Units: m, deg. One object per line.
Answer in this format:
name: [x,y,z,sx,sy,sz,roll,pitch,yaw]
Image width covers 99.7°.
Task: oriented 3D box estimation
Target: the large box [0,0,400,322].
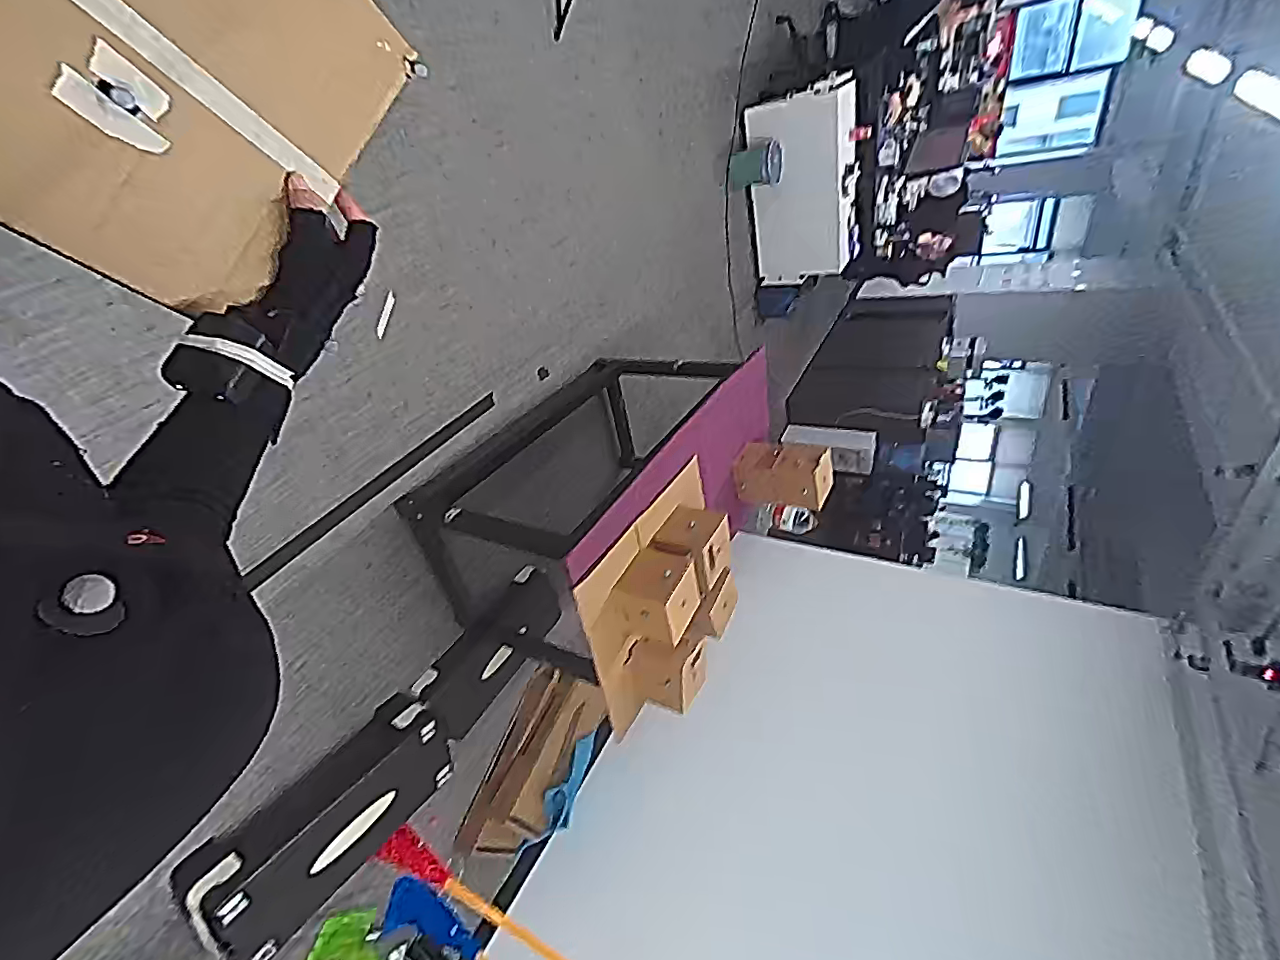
large box: [-0.498,-0.383,0.414,0.320,0.320,0.408,-62,147,-5]
